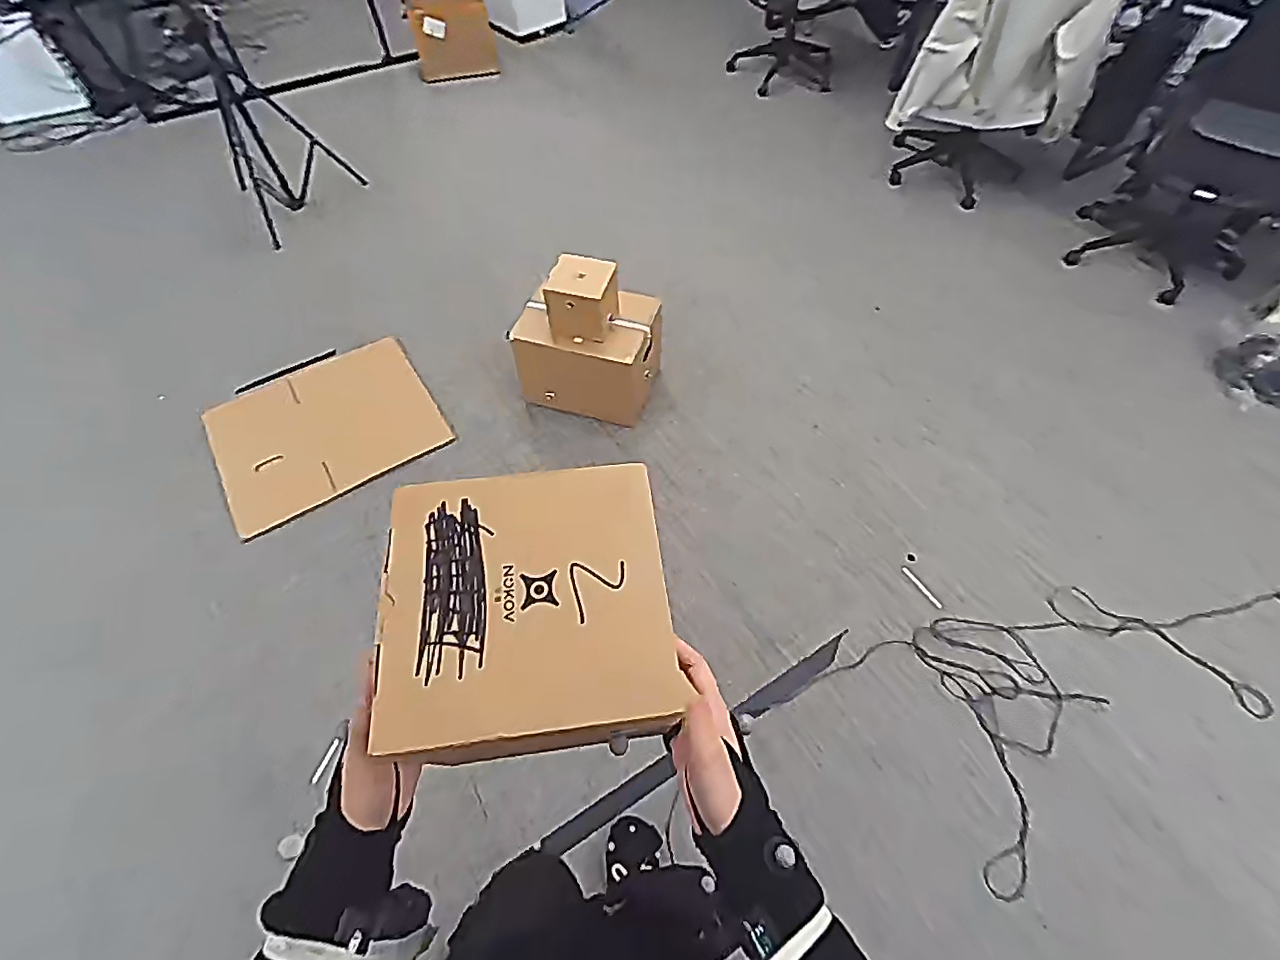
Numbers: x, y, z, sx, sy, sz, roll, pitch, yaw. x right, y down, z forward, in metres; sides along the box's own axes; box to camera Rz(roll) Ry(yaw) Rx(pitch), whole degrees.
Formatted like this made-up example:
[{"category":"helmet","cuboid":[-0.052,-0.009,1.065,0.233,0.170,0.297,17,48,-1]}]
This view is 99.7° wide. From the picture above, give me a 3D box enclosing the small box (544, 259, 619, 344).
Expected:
[{"category":"small box","cuboid":[-0.168,-0.534,1.626,0.179,0.176,0.168,13,60,8]}]
